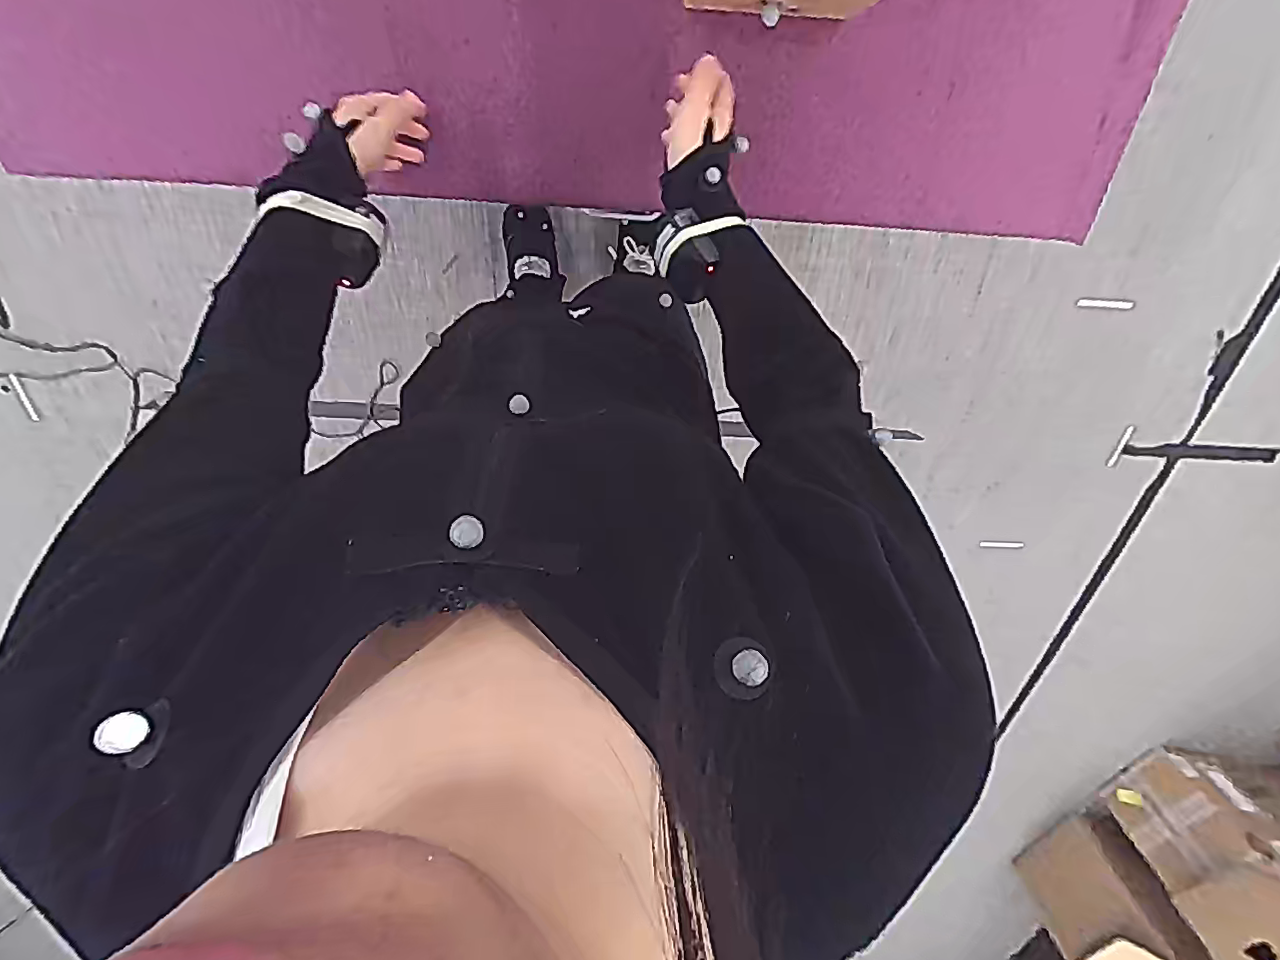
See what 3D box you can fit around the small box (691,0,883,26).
[{"bbox_3d":[0.130,-0.489,0.421,0.168,0.176,0.179,2,121,-4],"label":"small box"}]
